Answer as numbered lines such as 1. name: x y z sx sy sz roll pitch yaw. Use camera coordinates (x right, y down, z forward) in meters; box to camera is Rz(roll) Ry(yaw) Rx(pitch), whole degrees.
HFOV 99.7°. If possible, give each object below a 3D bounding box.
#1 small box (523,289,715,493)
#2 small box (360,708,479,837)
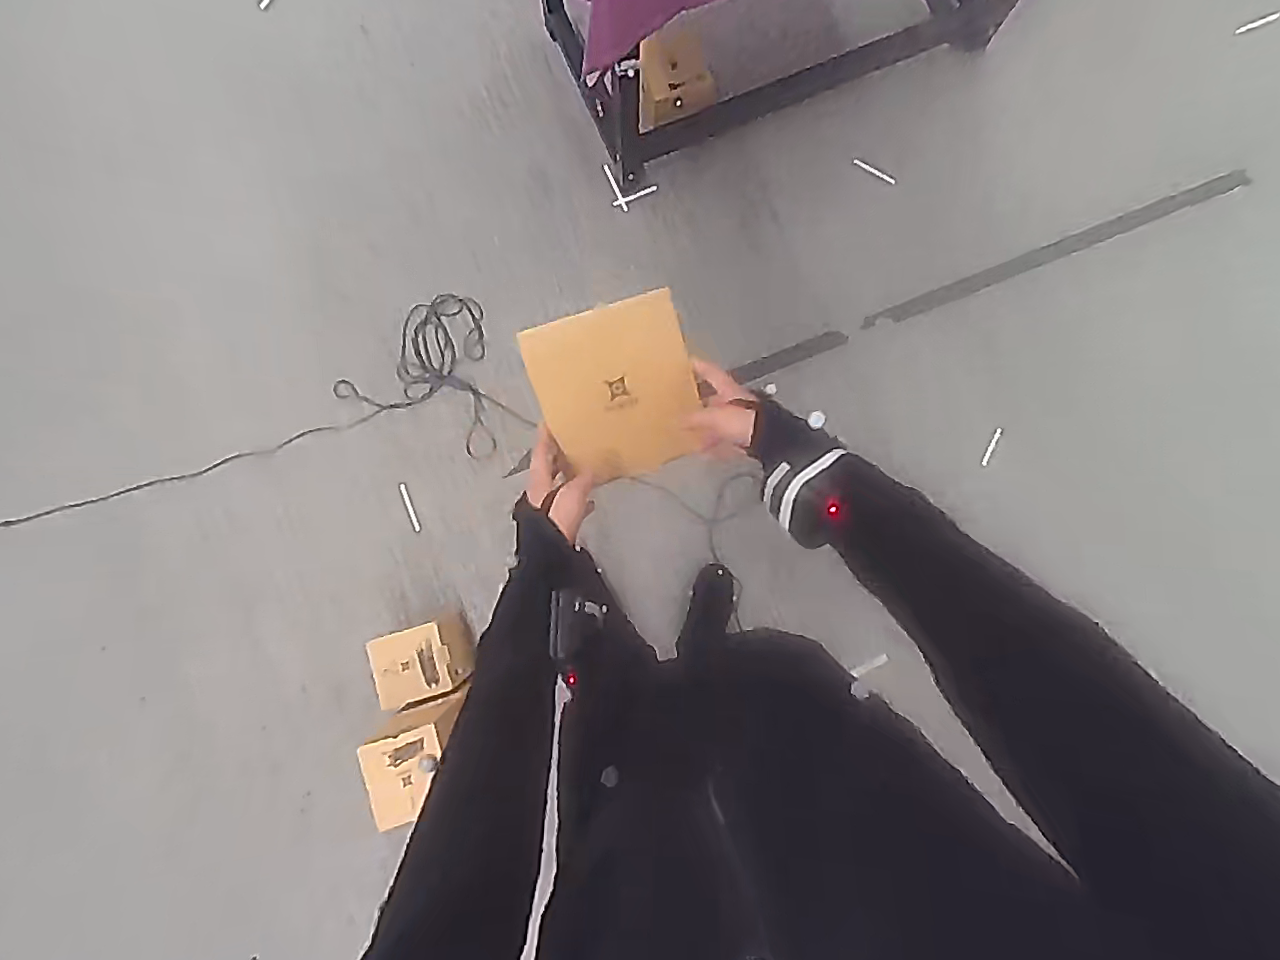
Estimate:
1. small box: -0.033 -0.102 0.637 0.168 0.176 0.179 -19 102 -7
2. small box: -0.466 0.614 1.166 0.168 0.176 0.179 -18 86 -2
